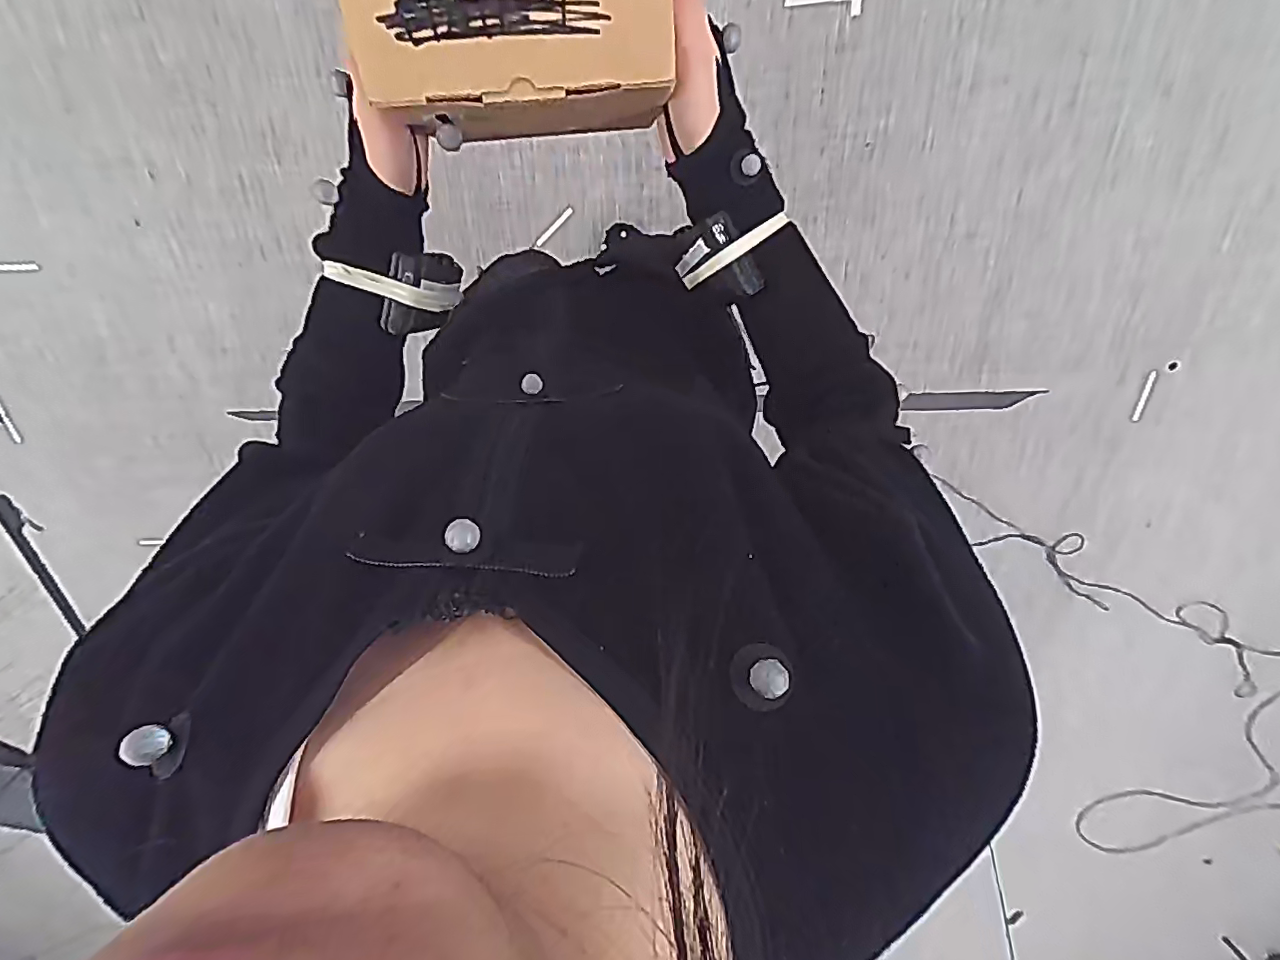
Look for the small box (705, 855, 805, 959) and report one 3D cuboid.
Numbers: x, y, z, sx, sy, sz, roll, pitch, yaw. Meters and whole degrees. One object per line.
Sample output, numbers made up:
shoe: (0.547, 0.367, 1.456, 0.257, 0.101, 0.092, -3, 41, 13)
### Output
small box: (0.226, 0.901, 1.108, 0.179, 0.176, 0.168, -4, 118, 2)
